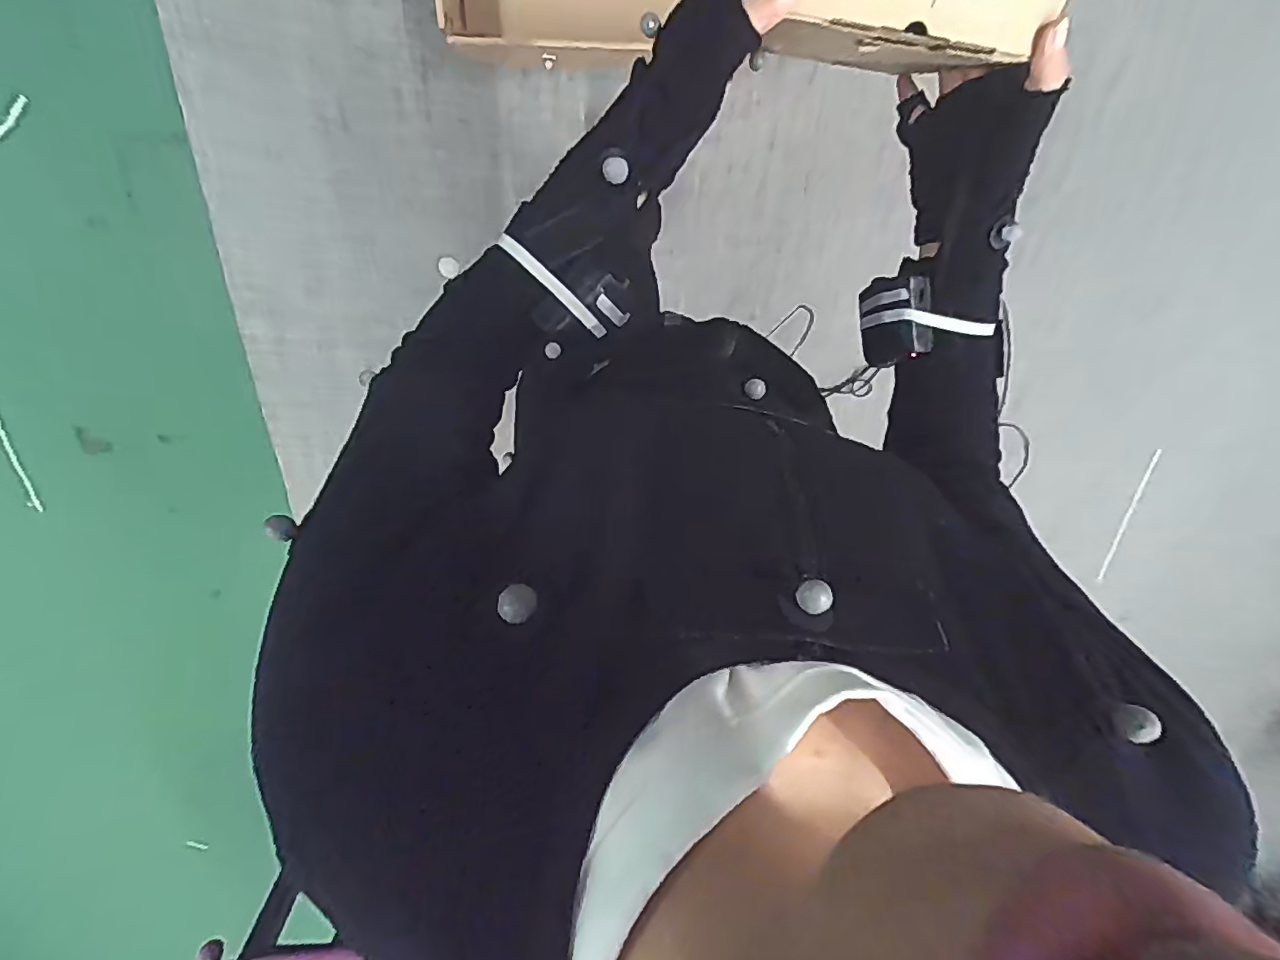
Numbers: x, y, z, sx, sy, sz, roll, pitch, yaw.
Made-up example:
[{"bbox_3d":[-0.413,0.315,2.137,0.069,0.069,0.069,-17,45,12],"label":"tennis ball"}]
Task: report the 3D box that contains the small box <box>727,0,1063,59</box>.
[{"bbox_3d":[0.156,-0.372,0.320,0.168,0.176,0.179,2,124,-10],"label":"small box"}]
